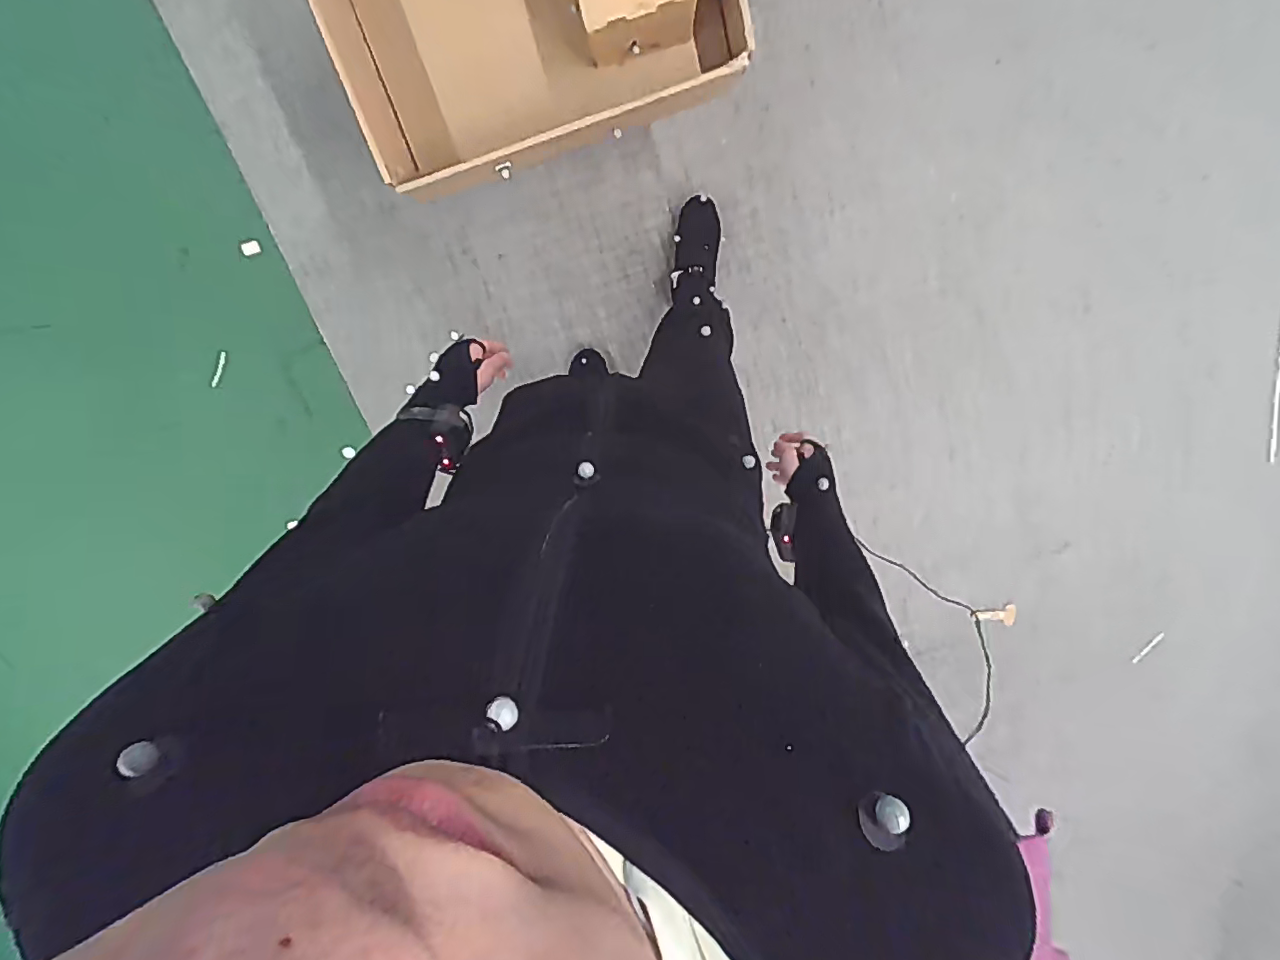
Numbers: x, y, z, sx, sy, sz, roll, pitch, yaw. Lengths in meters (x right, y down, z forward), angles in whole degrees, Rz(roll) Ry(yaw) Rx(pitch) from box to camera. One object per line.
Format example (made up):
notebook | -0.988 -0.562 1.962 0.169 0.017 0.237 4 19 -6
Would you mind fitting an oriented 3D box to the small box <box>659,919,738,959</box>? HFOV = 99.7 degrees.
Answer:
small box | 0.144 1.172 1.258 0.168 0.176 0.179 -15 112 7
